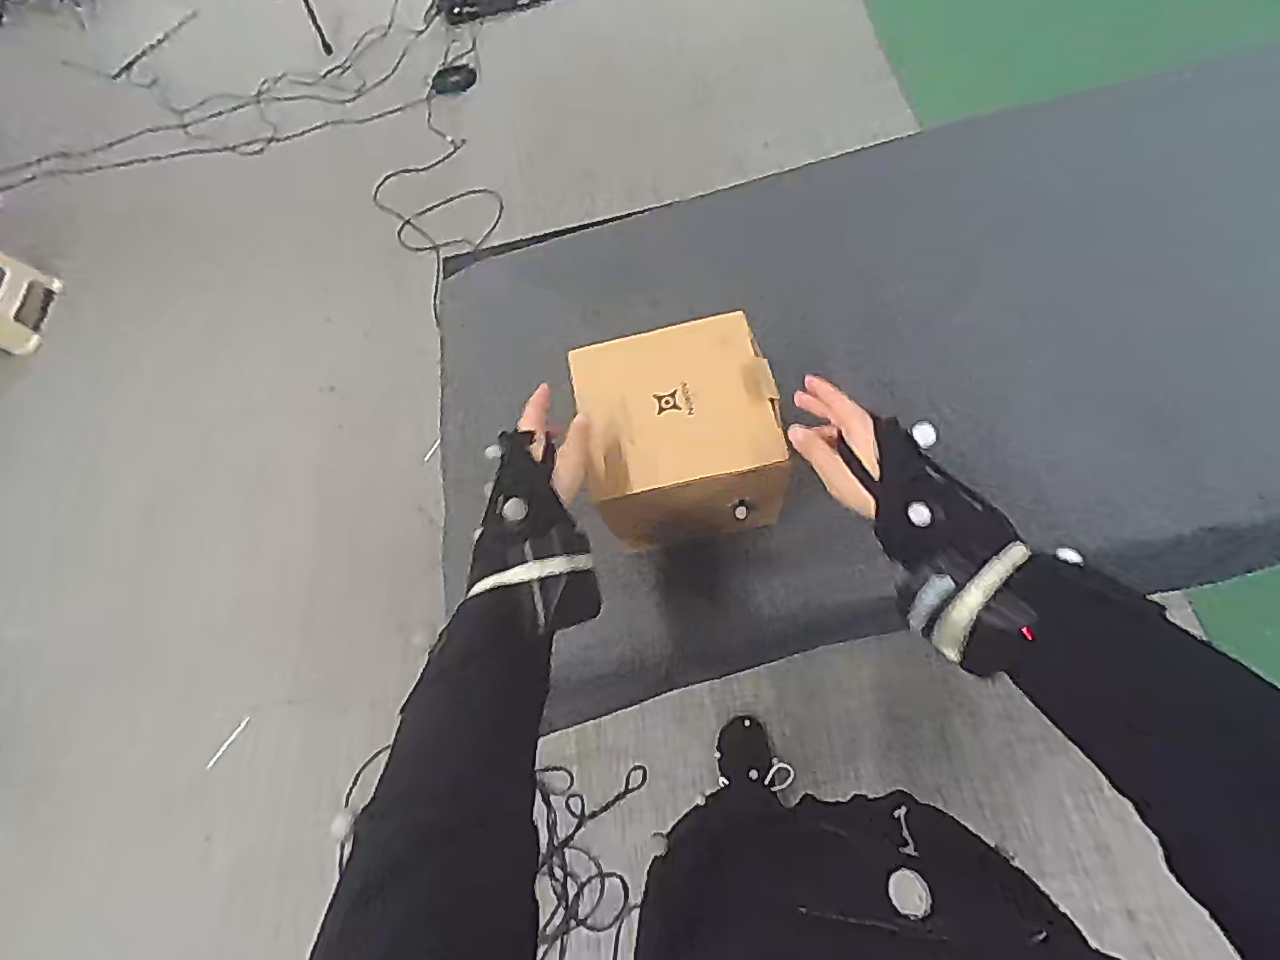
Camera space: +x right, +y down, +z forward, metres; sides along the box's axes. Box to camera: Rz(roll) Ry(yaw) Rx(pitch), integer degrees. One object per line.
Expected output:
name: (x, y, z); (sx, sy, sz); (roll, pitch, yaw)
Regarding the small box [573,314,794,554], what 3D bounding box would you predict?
small box: (0.043, -0.036, 0.559); (0.179, 0.176, 0.168); (-13, 64, 5)
